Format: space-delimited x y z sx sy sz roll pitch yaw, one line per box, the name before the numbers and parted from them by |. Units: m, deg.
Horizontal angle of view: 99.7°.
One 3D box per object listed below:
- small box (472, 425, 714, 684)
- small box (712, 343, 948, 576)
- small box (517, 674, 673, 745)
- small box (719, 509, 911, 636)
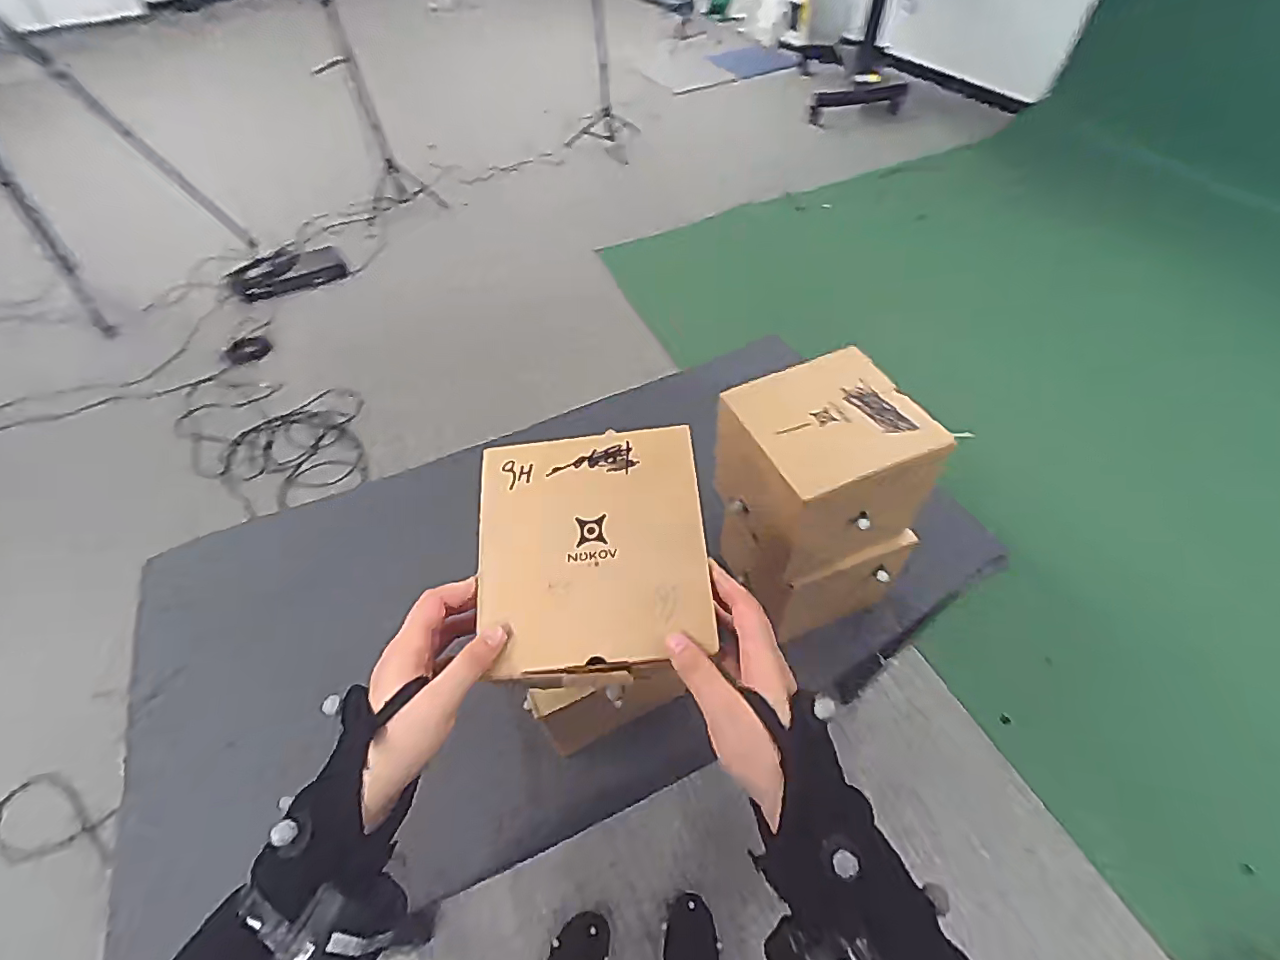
small box | -0.028 0.074 0.456 0.168 0.176 0.179 -5 69 3
small box | 0.194 -0.020 0.614 0.179 0.176 0.168 -20 53 -11
small box | -0.066 0.198 0.670 0.179 0.176 0.168 -22 55 -15
small box | 0.221 0.085 0.739 0.179 0.176 0.168 -19 53 -10
